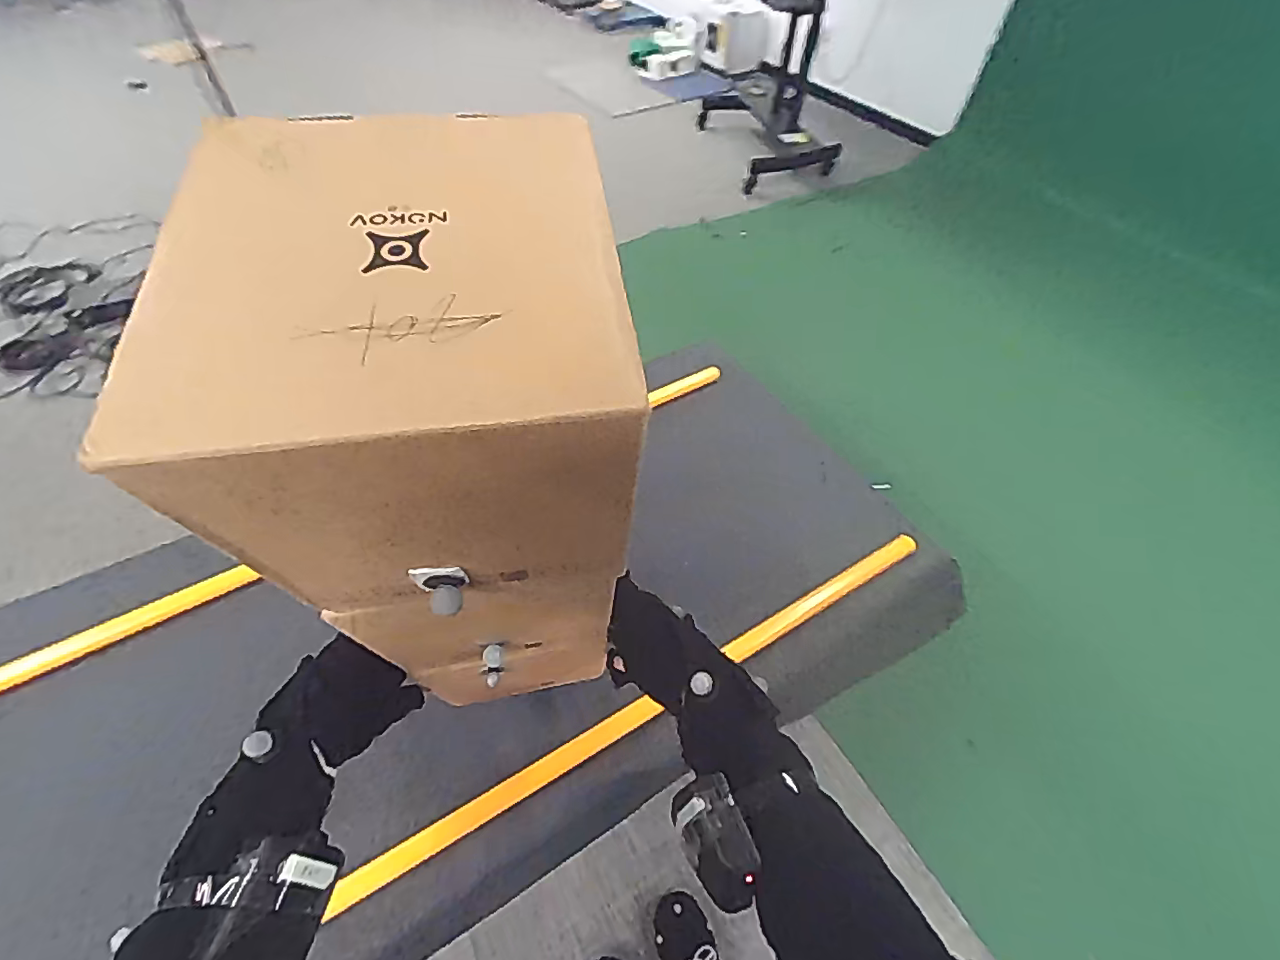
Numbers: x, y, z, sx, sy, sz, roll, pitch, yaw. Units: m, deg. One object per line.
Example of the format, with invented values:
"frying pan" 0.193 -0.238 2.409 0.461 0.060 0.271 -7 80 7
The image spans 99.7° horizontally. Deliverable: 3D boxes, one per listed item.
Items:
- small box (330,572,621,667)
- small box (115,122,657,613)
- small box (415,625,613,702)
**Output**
"small box" -0.111 0.030 0.418 0.168 0.176 0.179 -7 62 -9
"small box" -0.092 -0.048 0.277 0.168 0.176 0.179 -7 63 -7
"small box" -0.125 0.114 0.560 0.168 0.176 0.179 -8 62 -9
